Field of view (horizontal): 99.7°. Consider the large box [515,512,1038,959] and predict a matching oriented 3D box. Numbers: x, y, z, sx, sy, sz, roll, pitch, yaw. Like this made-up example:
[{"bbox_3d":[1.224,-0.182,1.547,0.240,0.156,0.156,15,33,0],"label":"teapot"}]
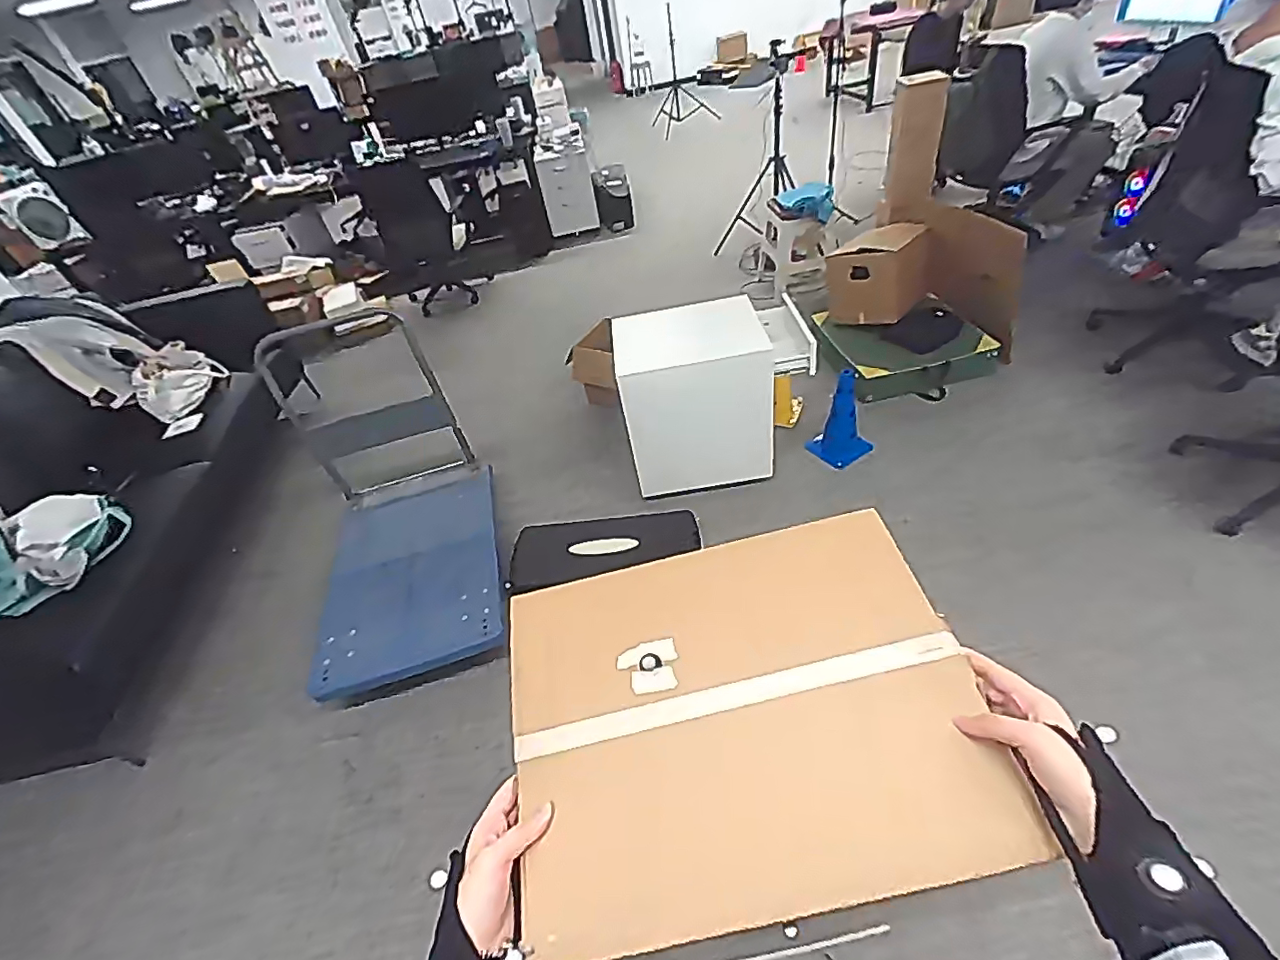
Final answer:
[{"bbox_3d":[0.112,0.289,0.616,0.408,0.320,0.320,-16,52,3],"label":"large box"}]
